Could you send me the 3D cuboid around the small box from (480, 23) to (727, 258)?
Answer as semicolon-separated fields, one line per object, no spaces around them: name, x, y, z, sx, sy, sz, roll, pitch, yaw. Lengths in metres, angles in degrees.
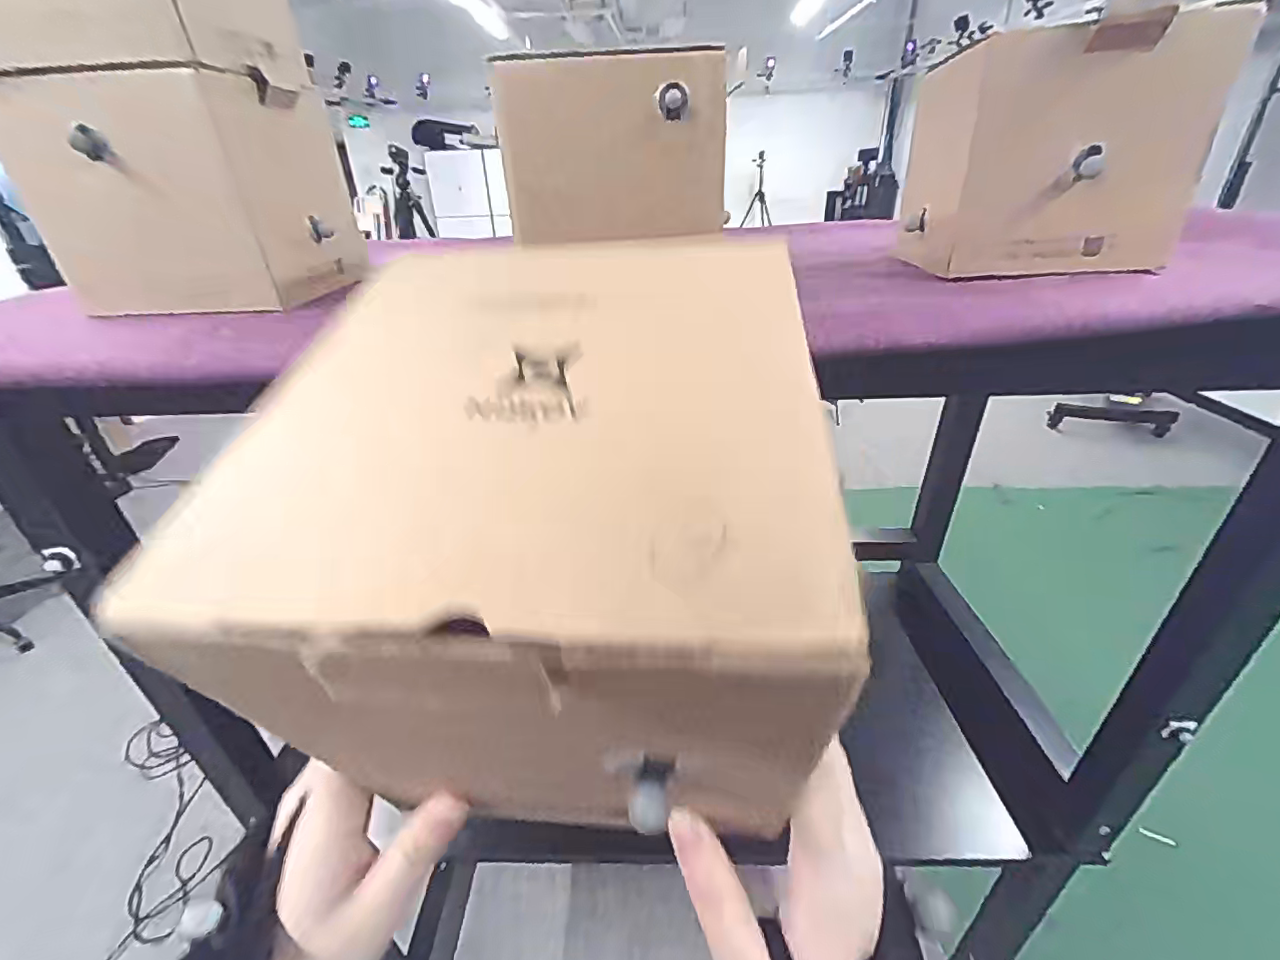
small box;-0.020;-0.271;0.478;0.179;0.176;0.168;-1;29;2

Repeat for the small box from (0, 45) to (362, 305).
small box;-0.383;-0.255;0.472;0.179;0.176;0.168;-1;32;2

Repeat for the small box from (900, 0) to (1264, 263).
small box;0.341;-0.284;0.464;0.168;0.176;0.179;1;29;9

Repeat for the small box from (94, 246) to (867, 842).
small box;-0.024;0.028;0.220;0.168;0.176;0.179;1;47;7
